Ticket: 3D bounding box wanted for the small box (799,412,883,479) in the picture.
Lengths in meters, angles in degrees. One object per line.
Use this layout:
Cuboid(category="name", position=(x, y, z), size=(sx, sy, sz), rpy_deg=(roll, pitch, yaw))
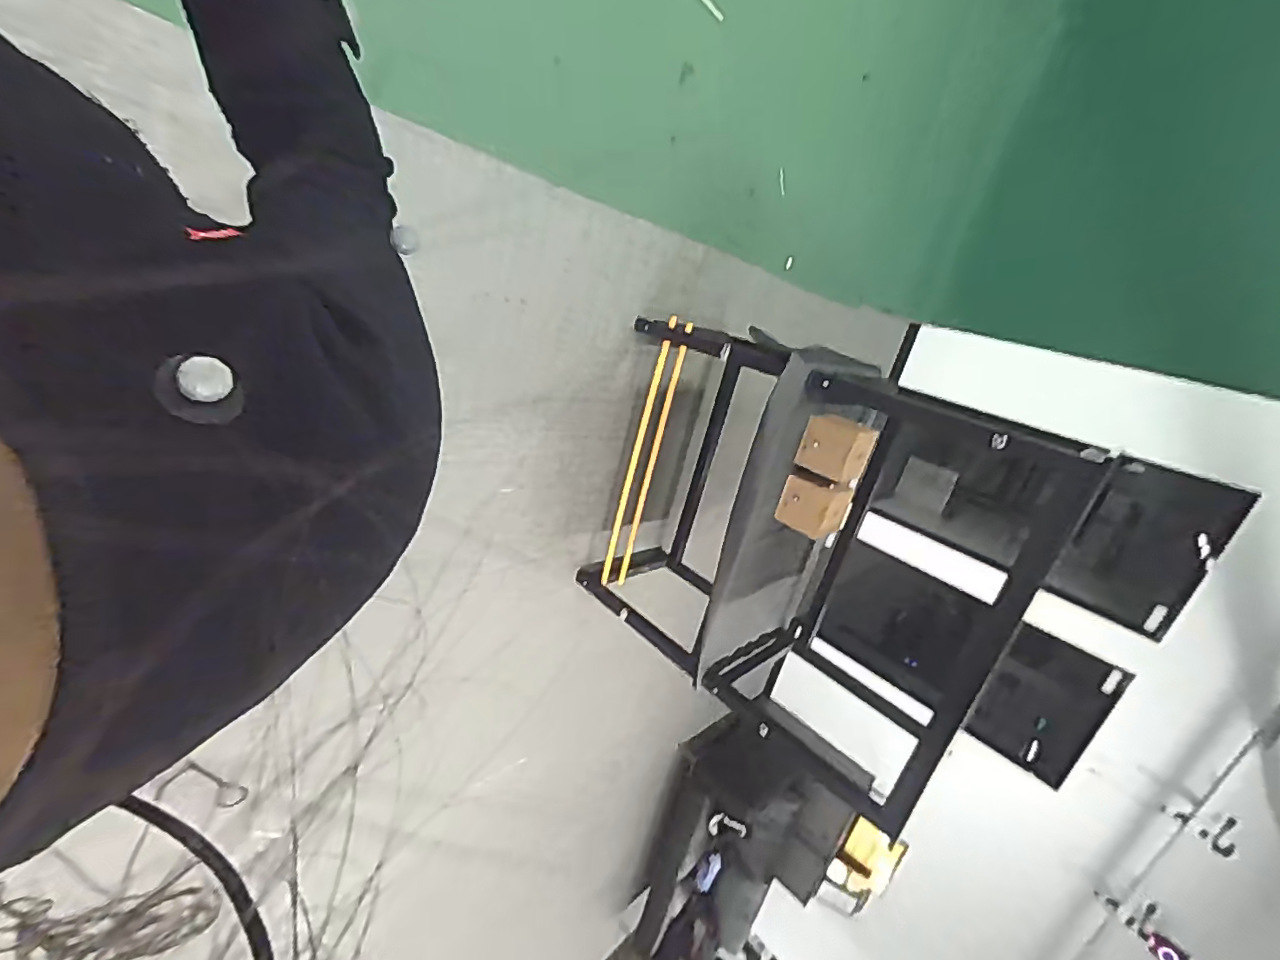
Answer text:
Cuboid(category="small box", position=(0.647, -0.118, 1.747), size=(0.179, 0.176, 0.168), rpy_deg=(-7, 119, -46))
